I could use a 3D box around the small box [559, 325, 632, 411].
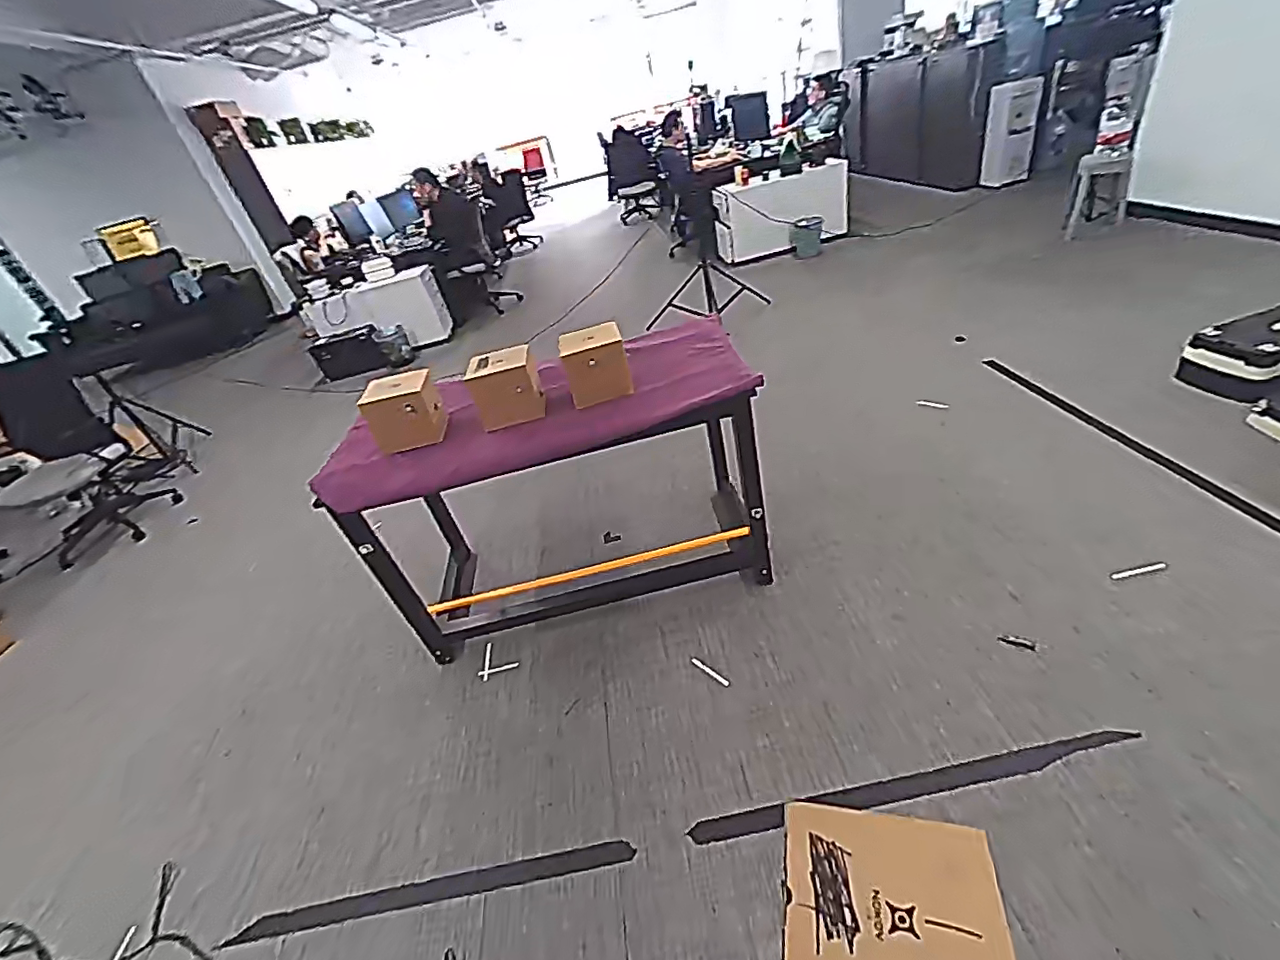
[{"bbox_3d":[-0.127,-0.323,1.568,0.179,0.176,0.168,-16,34,0],"label":"small box"}]

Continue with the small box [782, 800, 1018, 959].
[{"bbox_3d":[0.226,0.429,0.491,0.179,0.176,0.168,-2,32,18],"label":"small box"}]

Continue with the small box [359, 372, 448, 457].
[{"bbox_3d":[-0.680,-0.191,1.582,0.179,0.176,0.168,-14,34,-2],"label":"small box"}]
